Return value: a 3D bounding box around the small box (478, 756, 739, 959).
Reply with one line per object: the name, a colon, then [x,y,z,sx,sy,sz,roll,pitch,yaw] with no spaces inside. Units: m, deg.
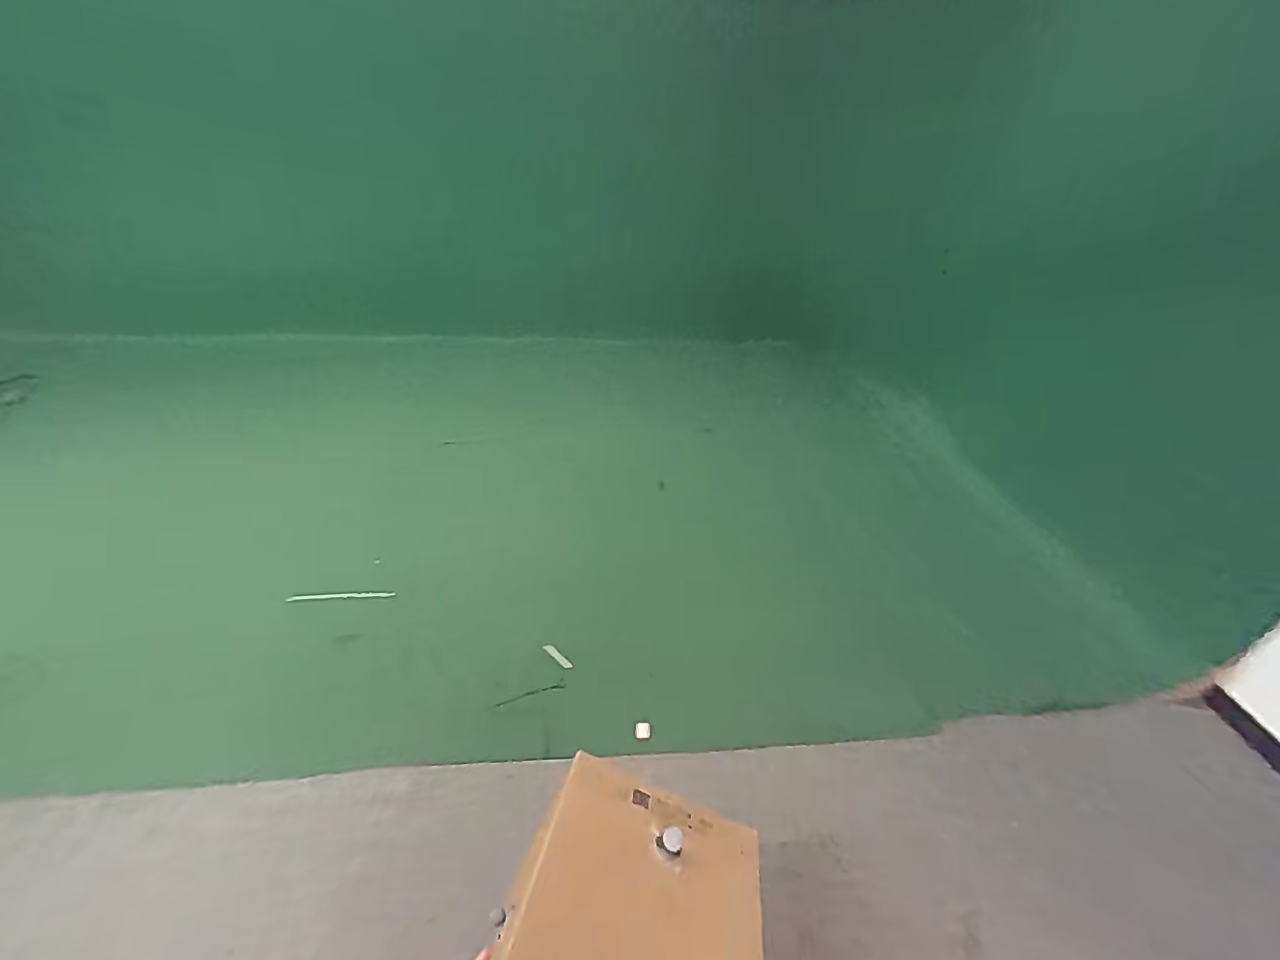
small box: [-0.029,0.355,0.403,0.168,0.179,0.176,23,16,1]
